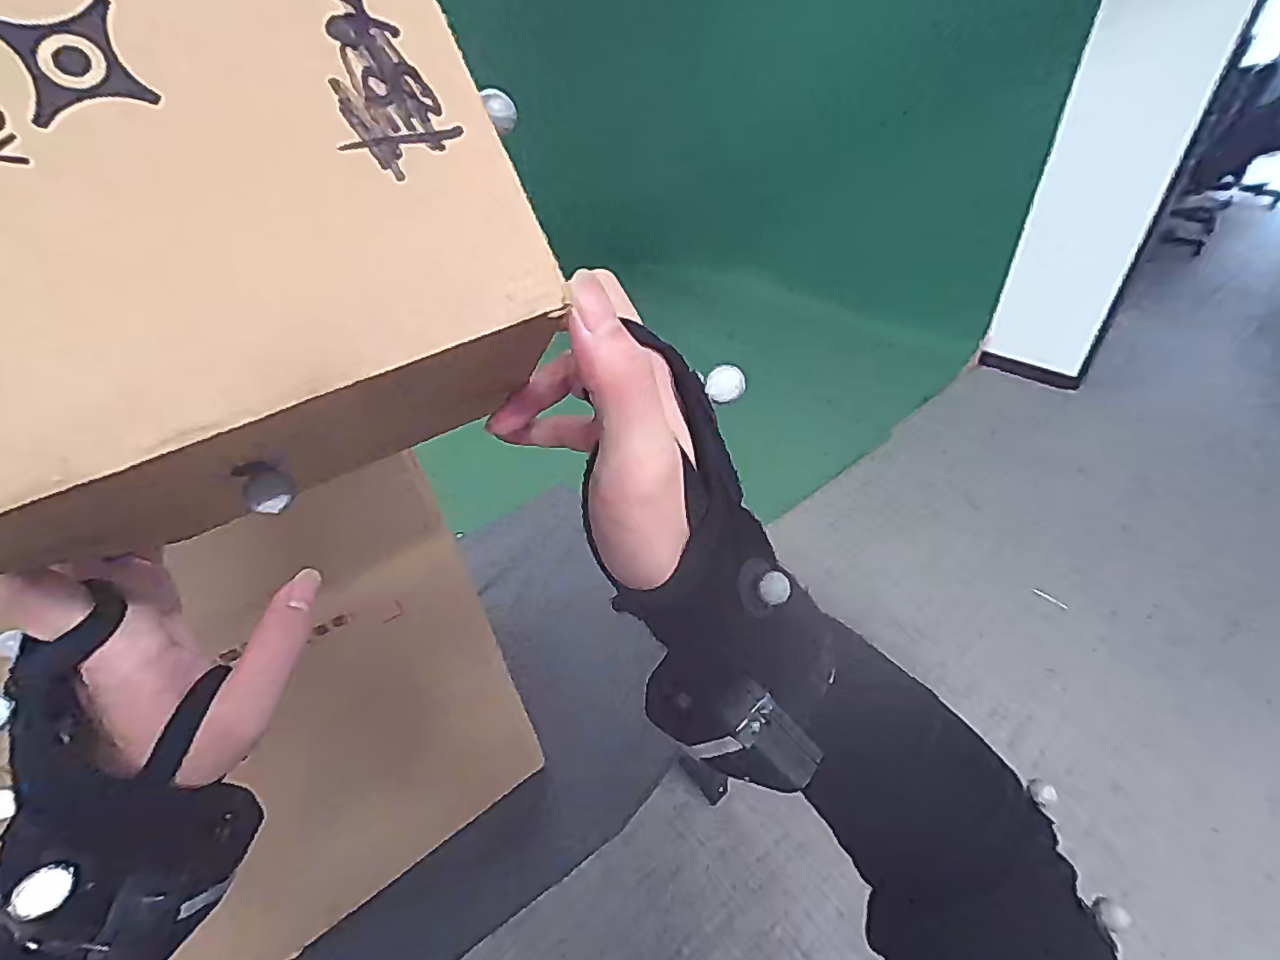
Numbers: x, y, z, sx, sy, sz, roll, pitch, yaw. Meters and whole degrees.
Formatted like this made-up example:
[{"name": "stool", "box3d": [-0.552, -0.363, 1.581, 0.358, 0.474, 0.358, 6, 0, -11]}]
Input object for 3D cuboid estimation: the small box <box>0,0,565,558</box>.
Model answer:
[{"name": "small box", "box3d": [-0.147, -0.081, 0.192, 0.179, 0.168, 0.176, -26, 7, -16]}]
